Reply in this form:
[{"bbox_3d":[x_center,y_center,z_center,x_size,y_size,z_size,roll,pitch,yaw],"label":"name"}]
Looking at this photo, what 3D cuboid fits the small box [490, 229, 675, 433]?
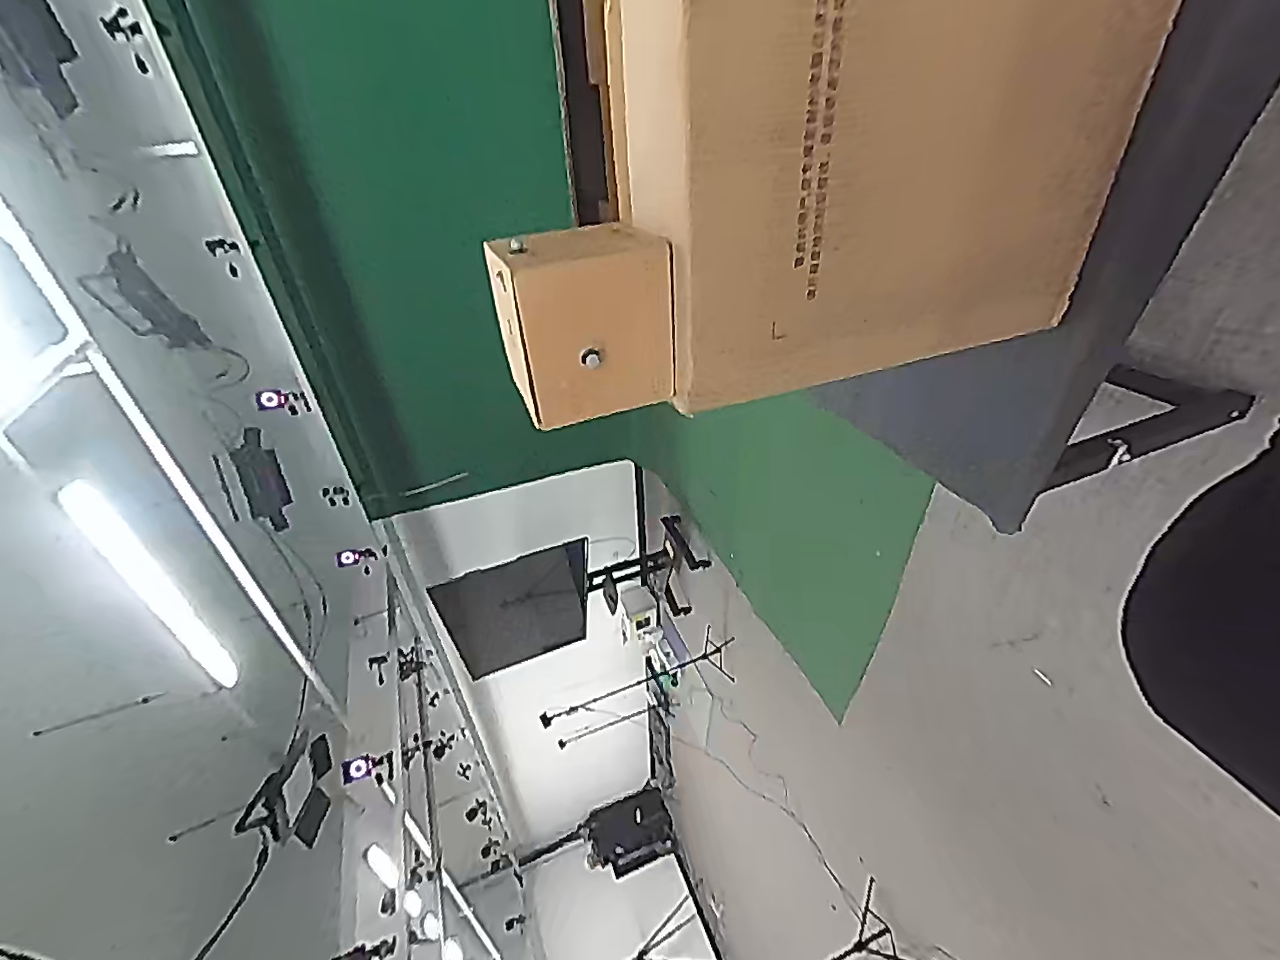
[{"bbox_3d":[-0.064,-0.184,0.647,0.168,0.176,0.179,-128,26,-51],"label":"small box"}]
